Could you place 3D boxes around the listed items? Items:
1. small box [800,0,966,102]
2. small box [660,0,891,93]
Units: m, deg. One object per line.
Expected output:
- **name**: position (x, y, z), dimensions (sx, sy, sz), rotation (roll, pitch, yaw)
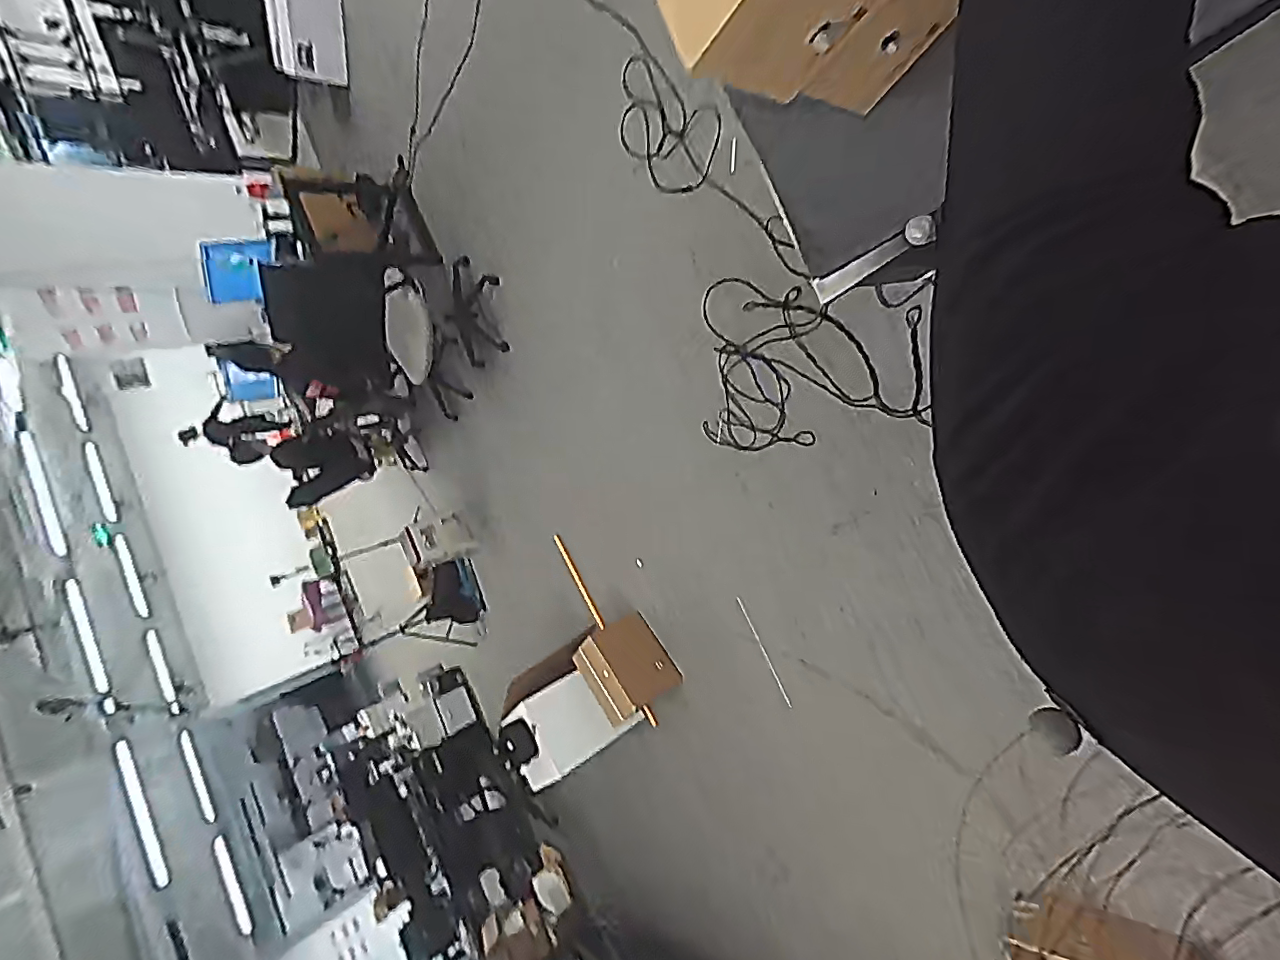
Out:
- **small box**: position (0.238, -0.560, 0.600), dimensions (0.168, 0.176, 0.179), rotation (-37, 75, 50)
- **small box**: position (0.122, -0.503, 0.498), dimensions (0.168, 0.176, 0.179), rotation (-25, 86, 52)
